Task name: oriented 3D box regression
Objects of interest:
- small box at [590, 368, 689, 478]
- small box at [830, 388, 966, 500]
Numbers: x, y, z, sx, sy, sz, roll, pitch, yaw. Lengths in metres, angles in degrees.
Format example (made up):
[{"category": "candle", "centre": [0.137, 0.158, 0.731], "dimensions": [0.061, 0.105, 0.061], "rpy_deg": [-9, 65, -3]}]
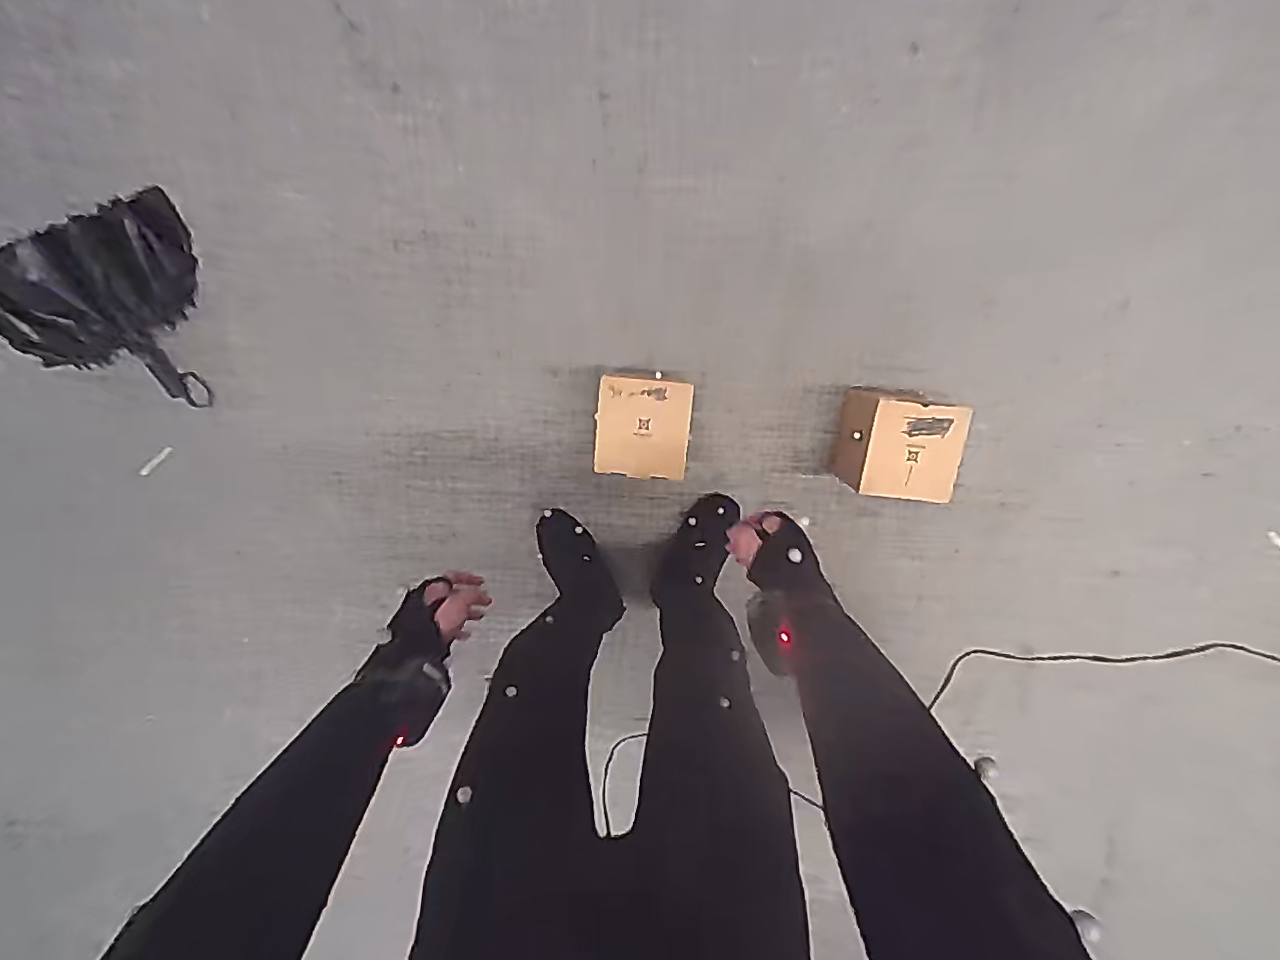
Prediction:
[{"category": "small box", "centre": [0.002, -0.115, 1.041], "dimensions": [0.168, 0.176, 0.179], "rpy_deg": [6, 105, 1]}, {"category": "small box", "centre": [0.477, -0.077, 1.030], "dimensions": [0.168, 0.176, 0.179], "rpy_deg": [6, 106, 2]}]
